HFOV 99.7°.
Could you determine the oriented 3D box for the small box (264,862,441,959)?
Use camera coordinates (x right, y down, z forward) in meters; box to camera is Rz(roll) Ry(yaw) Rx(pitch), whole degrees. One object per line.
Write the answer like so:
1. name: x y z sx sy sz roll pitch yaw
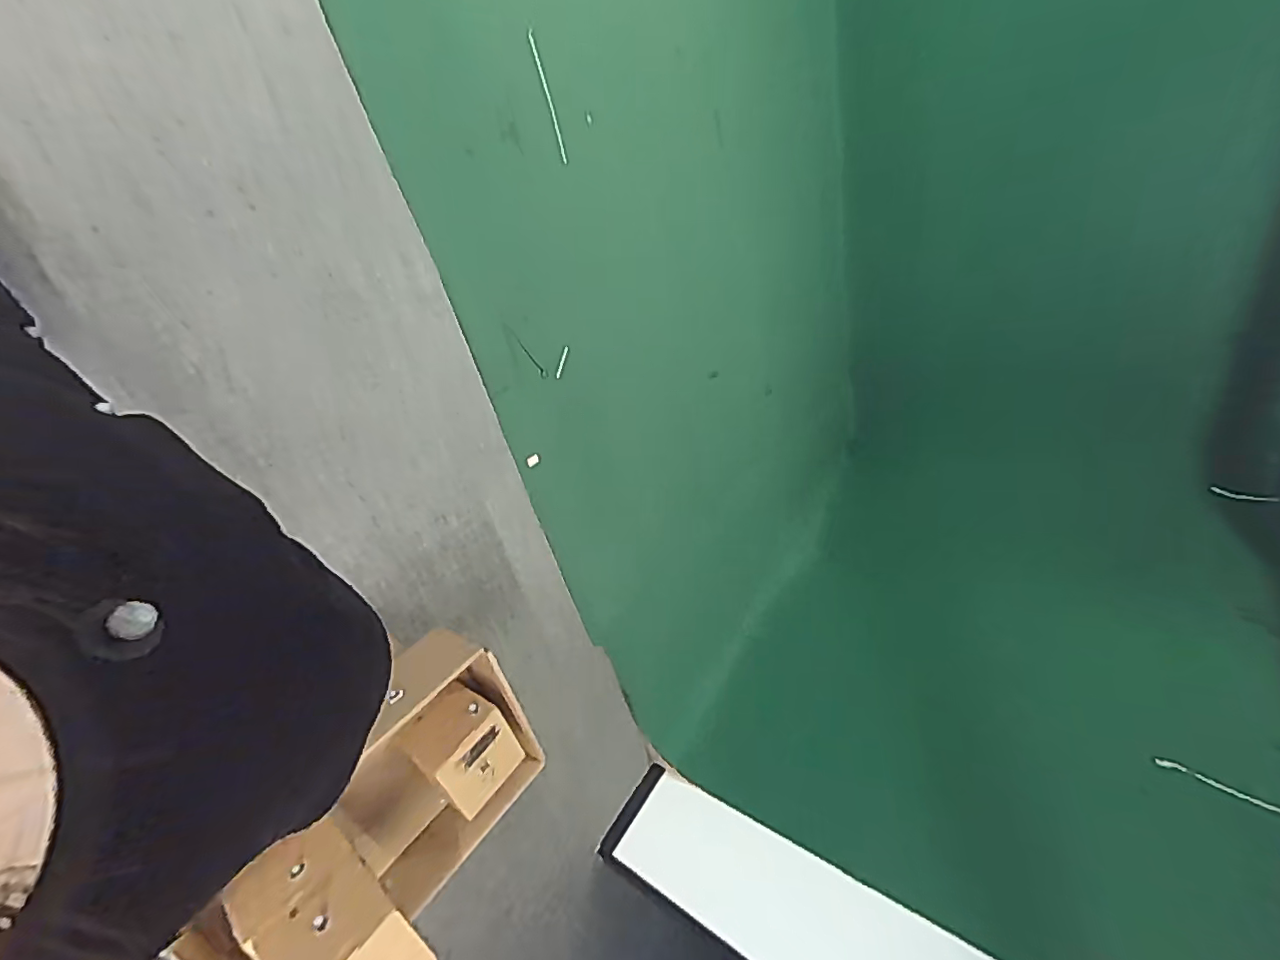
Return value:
1. small box: -0.452 0.756 0.857 0.168 0.176 0.179 -37 123 -39
